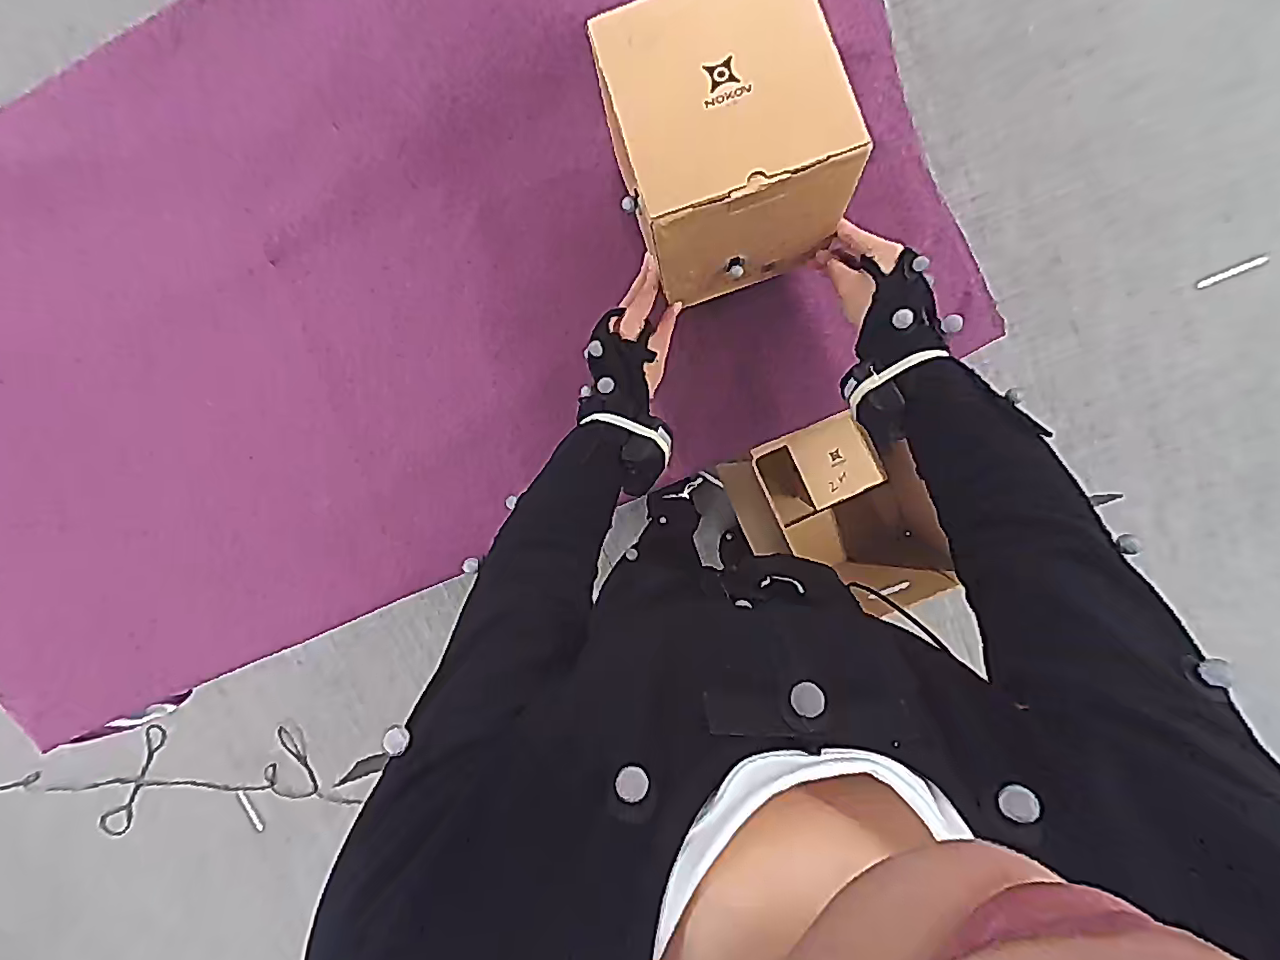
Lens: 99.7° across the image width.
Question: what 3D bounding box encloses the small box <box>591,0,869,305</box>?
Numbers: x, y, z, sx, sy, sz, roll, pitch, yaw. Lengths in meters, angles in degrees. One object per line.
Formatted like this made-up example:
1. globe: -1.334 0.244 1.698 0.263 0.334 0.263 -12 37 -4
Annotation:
1. small box: 0.071 -0.287 0.475 0.168 0.176 0.179 -18 83 6
